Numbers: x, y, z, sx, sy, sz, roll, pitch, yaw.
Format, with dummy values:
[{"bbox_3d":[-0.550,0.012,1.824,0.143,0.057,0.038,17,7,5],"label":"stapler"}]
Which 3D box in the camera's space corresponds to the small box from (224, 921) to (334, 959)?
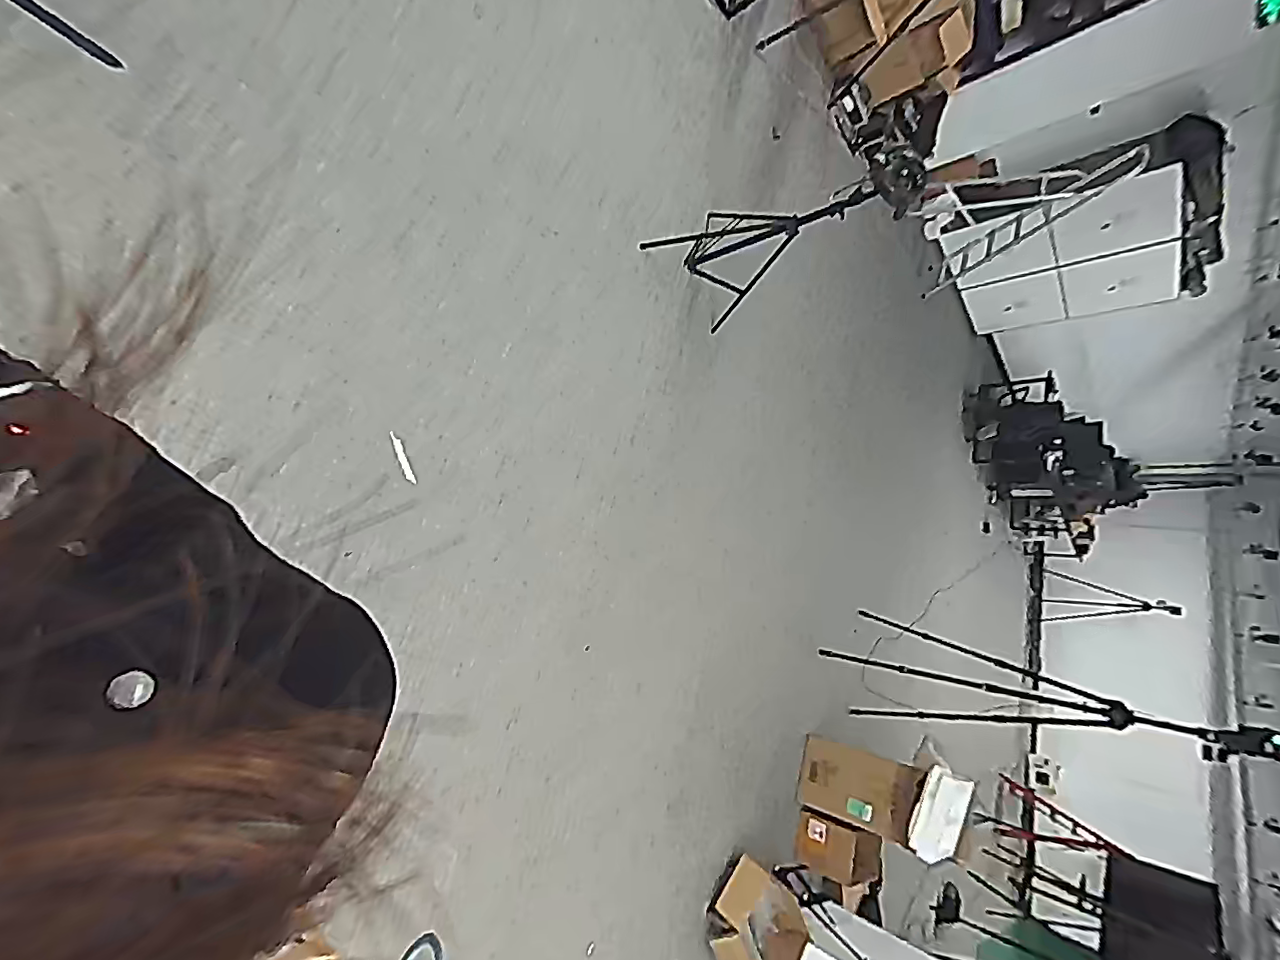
[{"bbox_3d":[-0.813,1.101,1.178,0.168,0.176,0.179,35,64,-40],"label":"small box"}]
